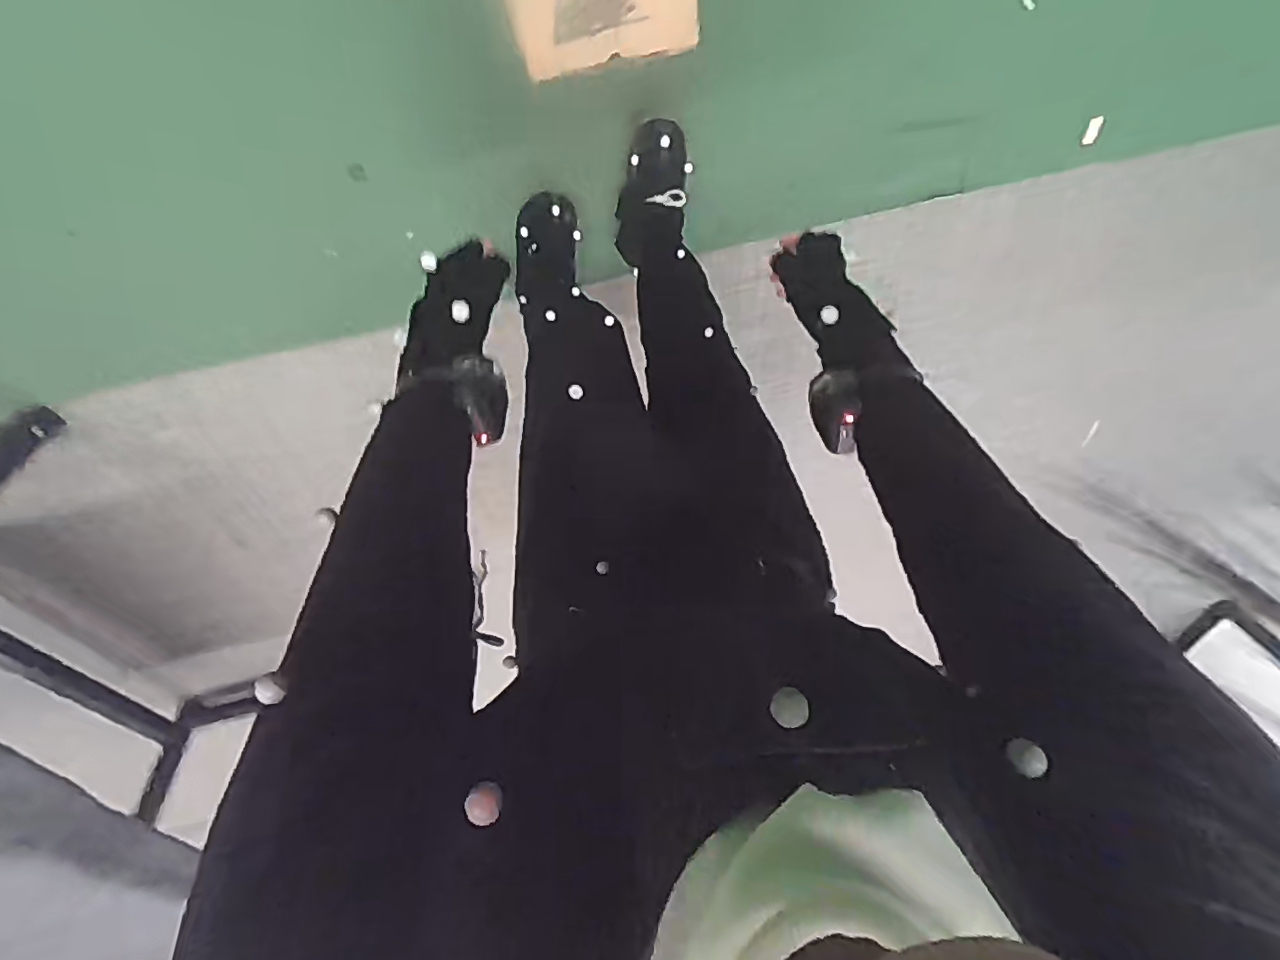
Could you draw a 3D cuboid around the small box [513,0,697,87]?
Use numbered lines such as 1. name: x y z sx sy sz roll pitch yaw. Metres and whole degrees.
1. small box: -0.047 -0.508 0.518 0.168 0.176 0.179 -13 133 -2
